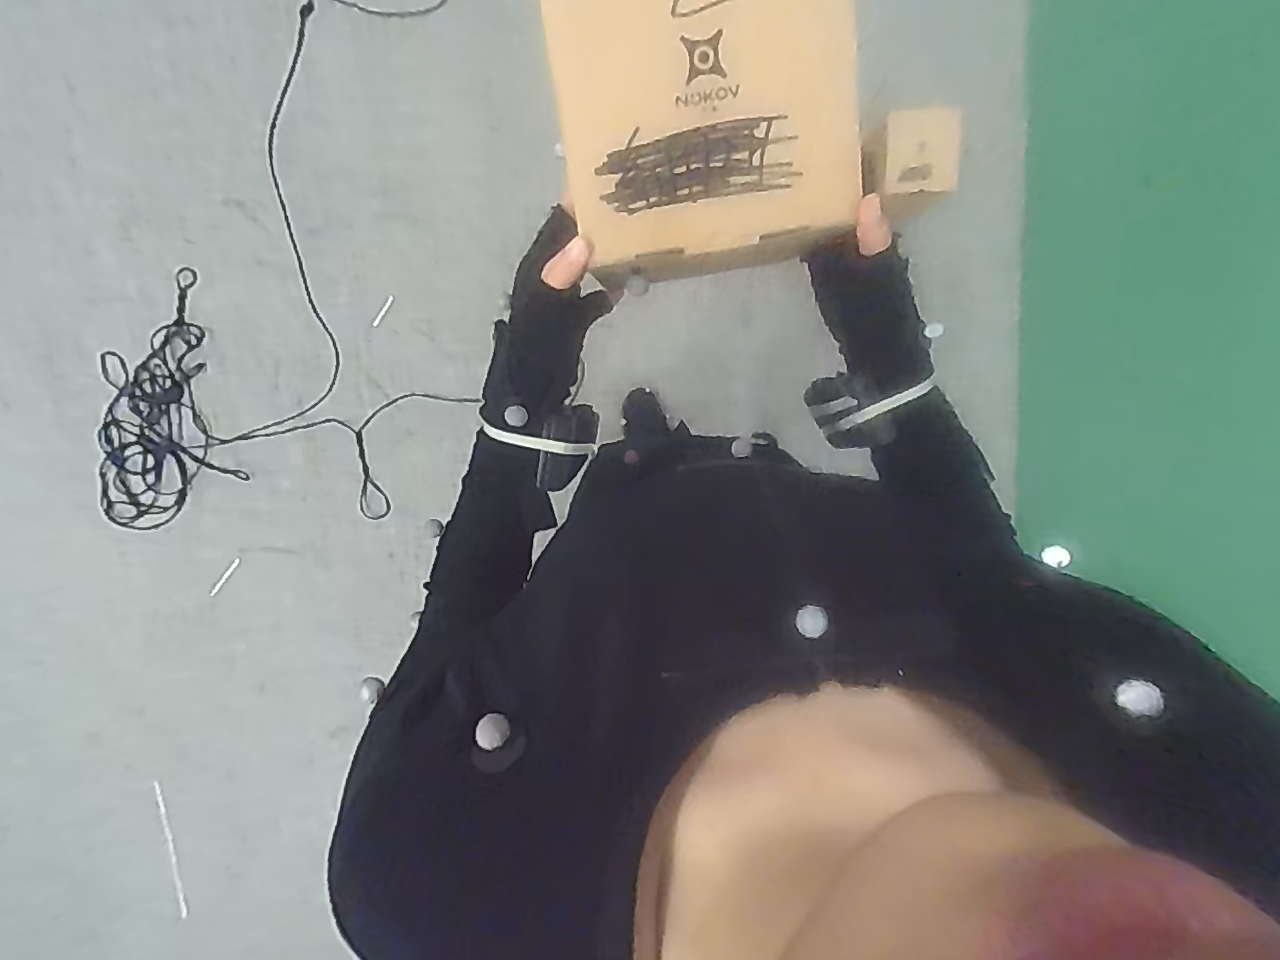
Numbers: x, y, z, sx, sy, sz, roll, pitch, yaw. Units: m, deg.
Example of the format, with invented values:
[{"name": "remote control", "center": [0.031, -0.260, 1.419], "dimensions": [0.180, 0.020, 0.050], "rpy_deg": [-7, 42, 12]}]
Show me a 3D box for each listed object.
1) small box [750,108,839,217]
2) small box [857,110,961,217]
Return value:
[{"name": "small box", "center": [0.360, -0.746, 1.285], "dimensions": [0.168, 0.176, 0.179], "rpy_deg": [-1, 98, 0]}, {"name": "small box", "center": [0.628, -0.739, 1.283], "dimensions": [0.168, 0.176, 0.179], "rpy_deg": [-1, 97, 1]}]
